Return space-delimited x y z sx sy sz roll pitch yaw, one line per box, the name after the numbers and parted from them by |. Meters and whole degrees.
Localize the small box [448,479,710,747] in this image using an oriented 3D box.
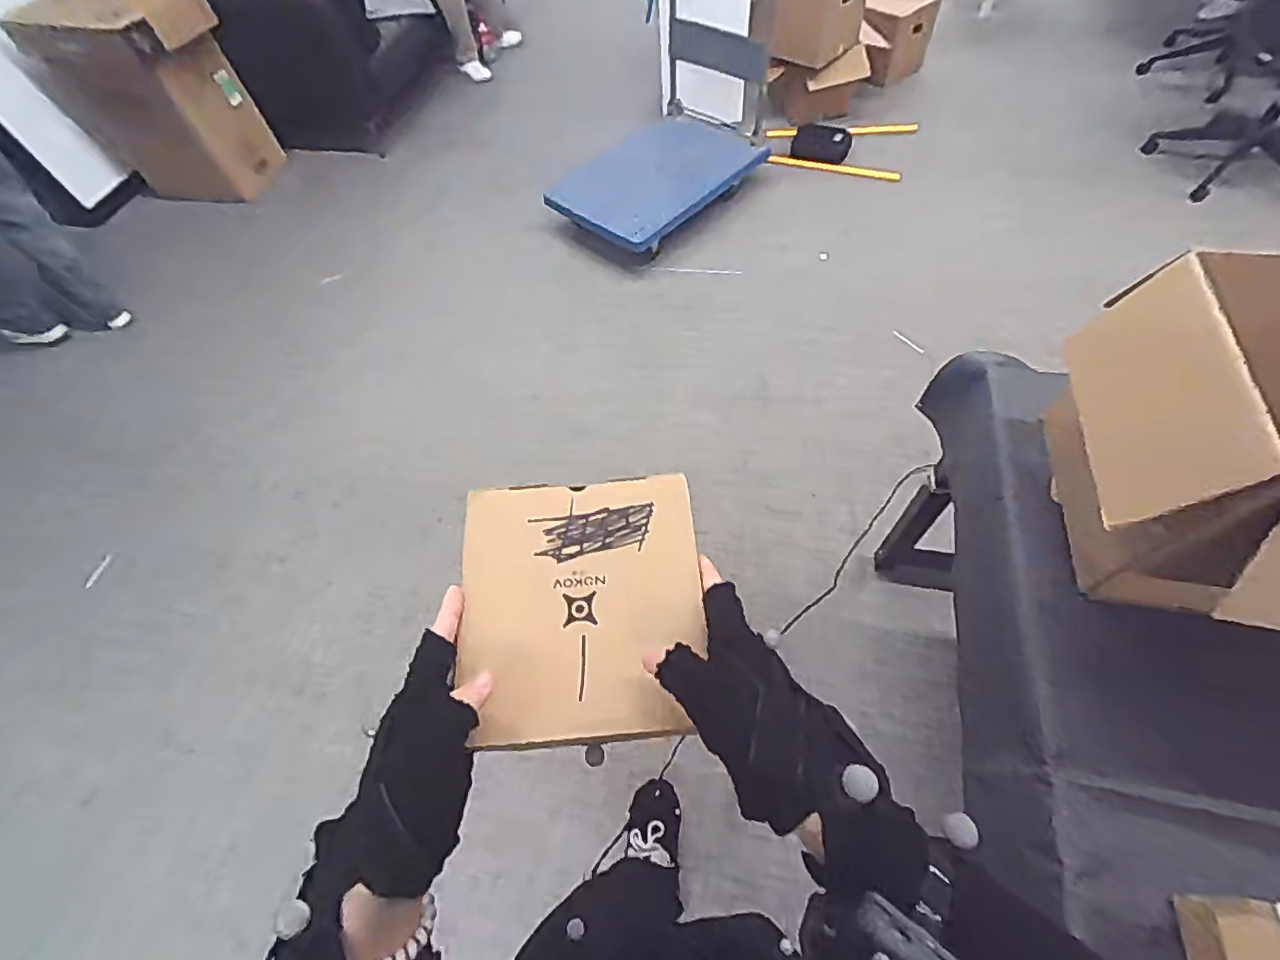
-0.042 0.116 0.444 0.168 0.176 0.179 -3 63 -2 | small box
